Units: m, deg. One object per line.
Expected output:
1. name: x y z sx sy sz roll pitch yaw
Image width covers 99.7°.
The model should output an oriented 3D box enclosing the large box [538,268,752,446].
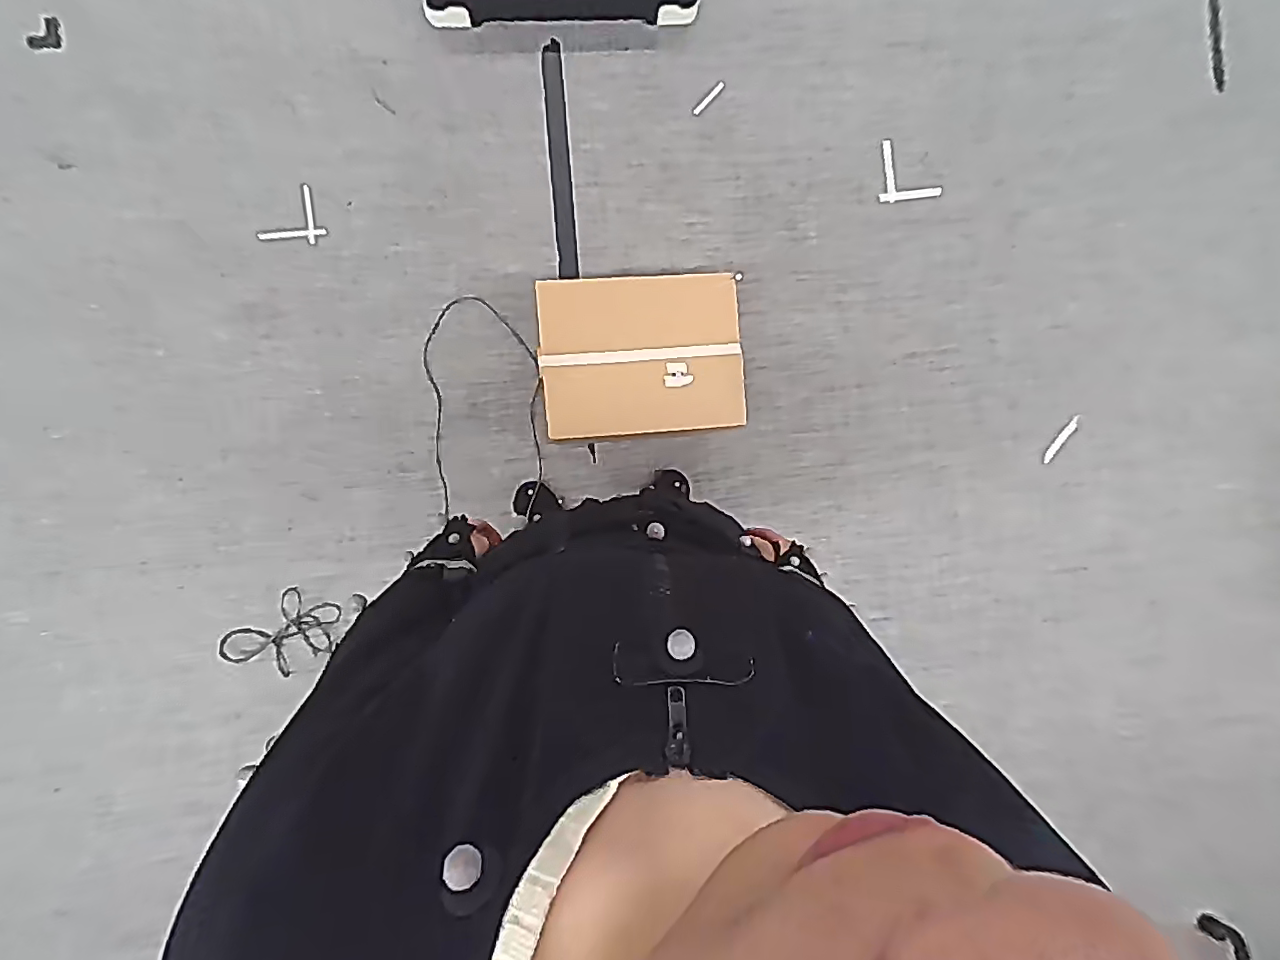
1. large box: -0.003 -0.254 1.205 0.408 0.320 0.320 -5 92 -7
